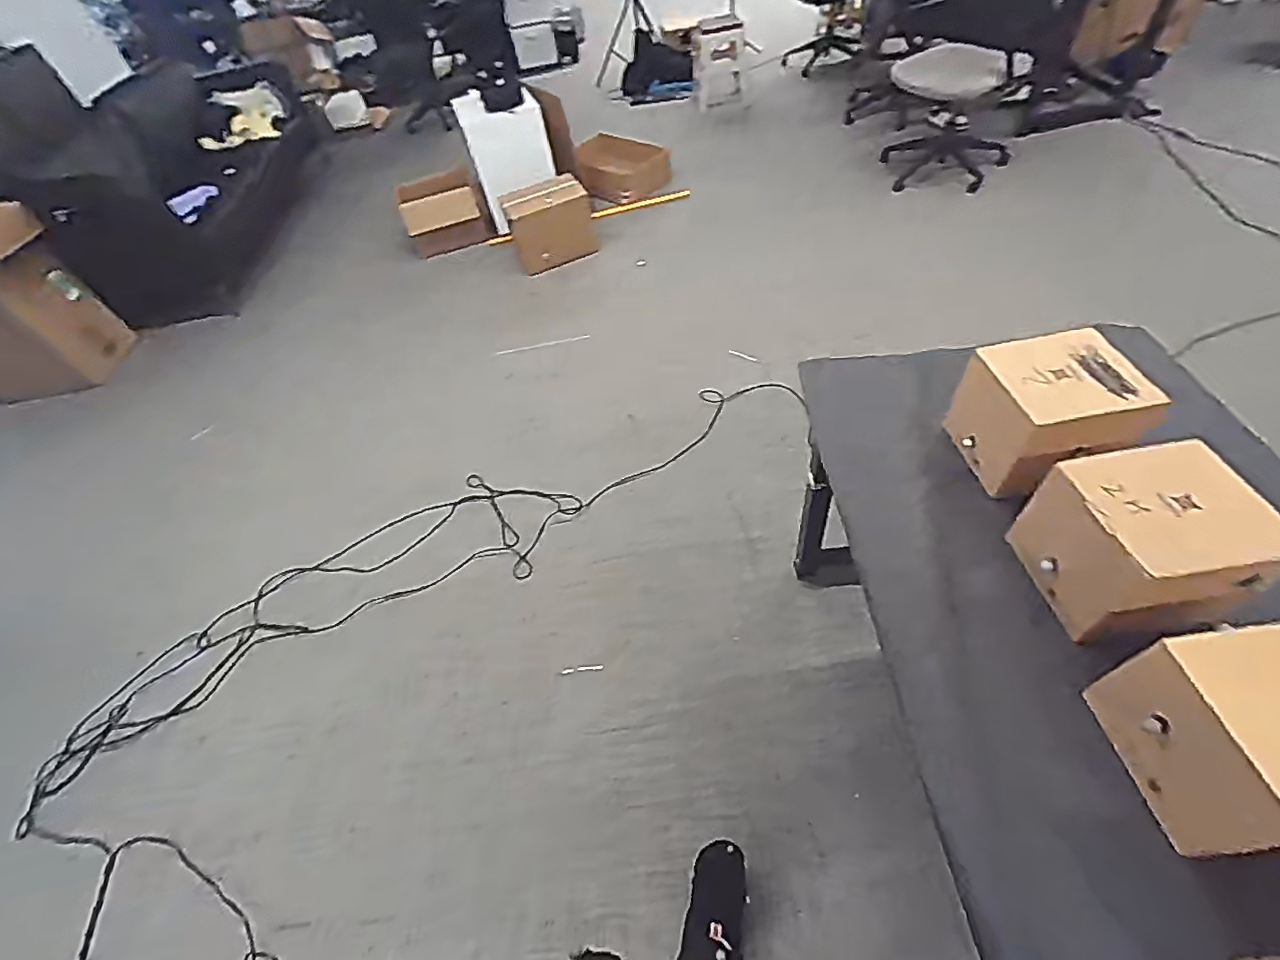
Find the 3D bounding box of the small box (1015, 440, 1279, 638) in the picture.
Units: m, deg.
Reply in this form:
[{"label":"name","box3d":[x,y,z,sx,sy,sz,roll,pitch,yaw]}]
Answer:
[{"label":"small box","box3d":[0.614,0.077,0.662,0.179,0.176,0.168,-9,50,2]}]

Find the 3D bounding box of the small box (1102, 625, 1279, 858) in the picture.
[{"label":"small box","box3d":[0.605,0.253,0.523,0.179,0.176,0.168,-8,50,2]}]
